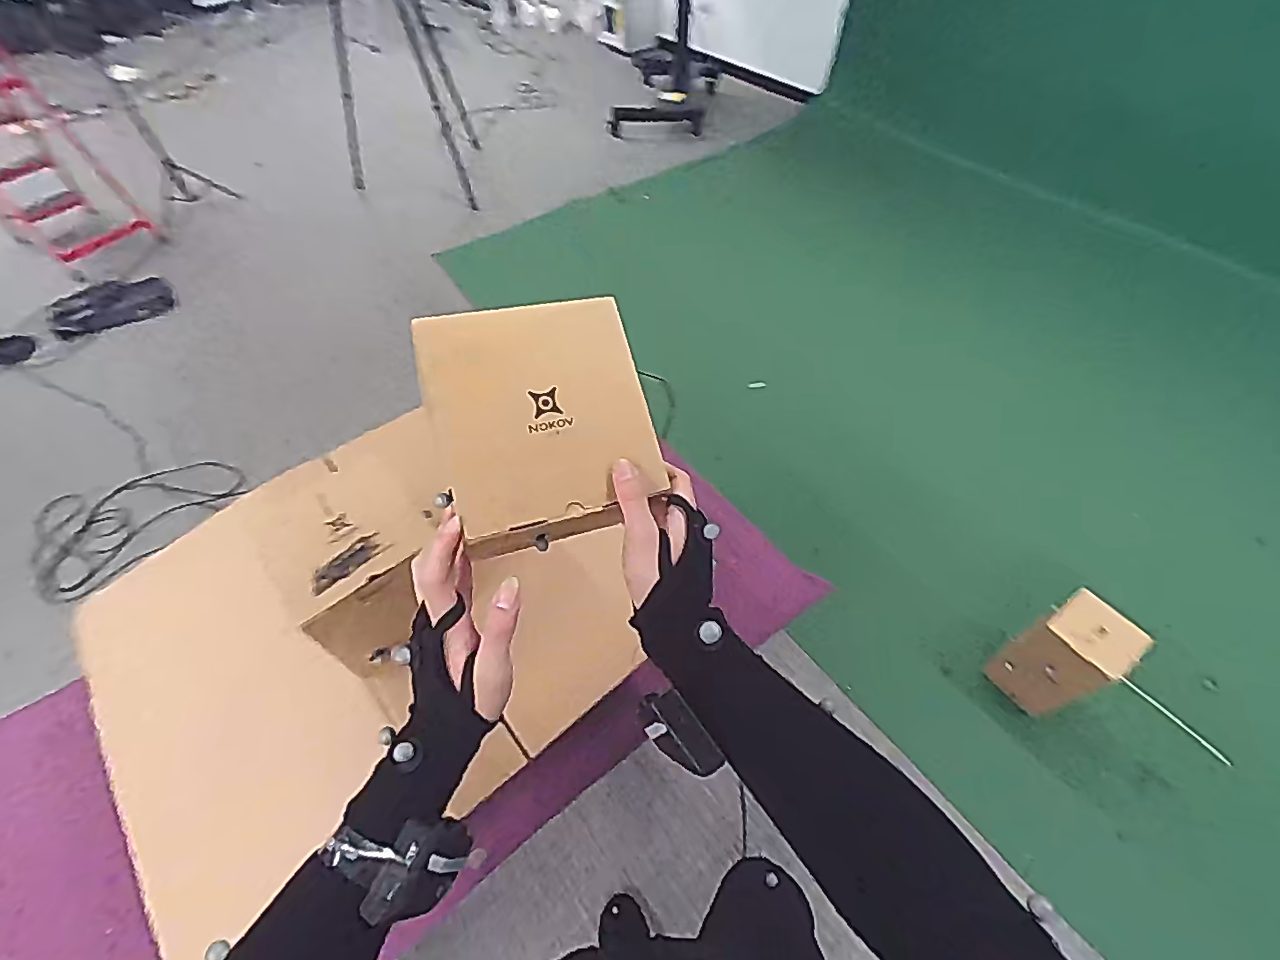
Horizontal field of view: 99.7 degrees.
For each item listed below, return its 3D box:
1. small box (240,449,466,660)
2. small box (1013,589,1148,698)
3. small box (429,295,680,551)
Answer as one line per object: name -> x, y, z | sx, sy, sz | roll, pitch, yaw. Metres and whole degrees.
small box -> -0.346, 0.101, 0.681 | 0.168, 0.176, 0.179 | -35, 60, -24
small box -> 1.087, 0.411, 1.350 | 0.179, 0.176, 0.168 | -30, 58, -20
small box -> -0.088, -0.042, 0.492 | 0.168, 0.176, 0.179 | -13, 83, -20
